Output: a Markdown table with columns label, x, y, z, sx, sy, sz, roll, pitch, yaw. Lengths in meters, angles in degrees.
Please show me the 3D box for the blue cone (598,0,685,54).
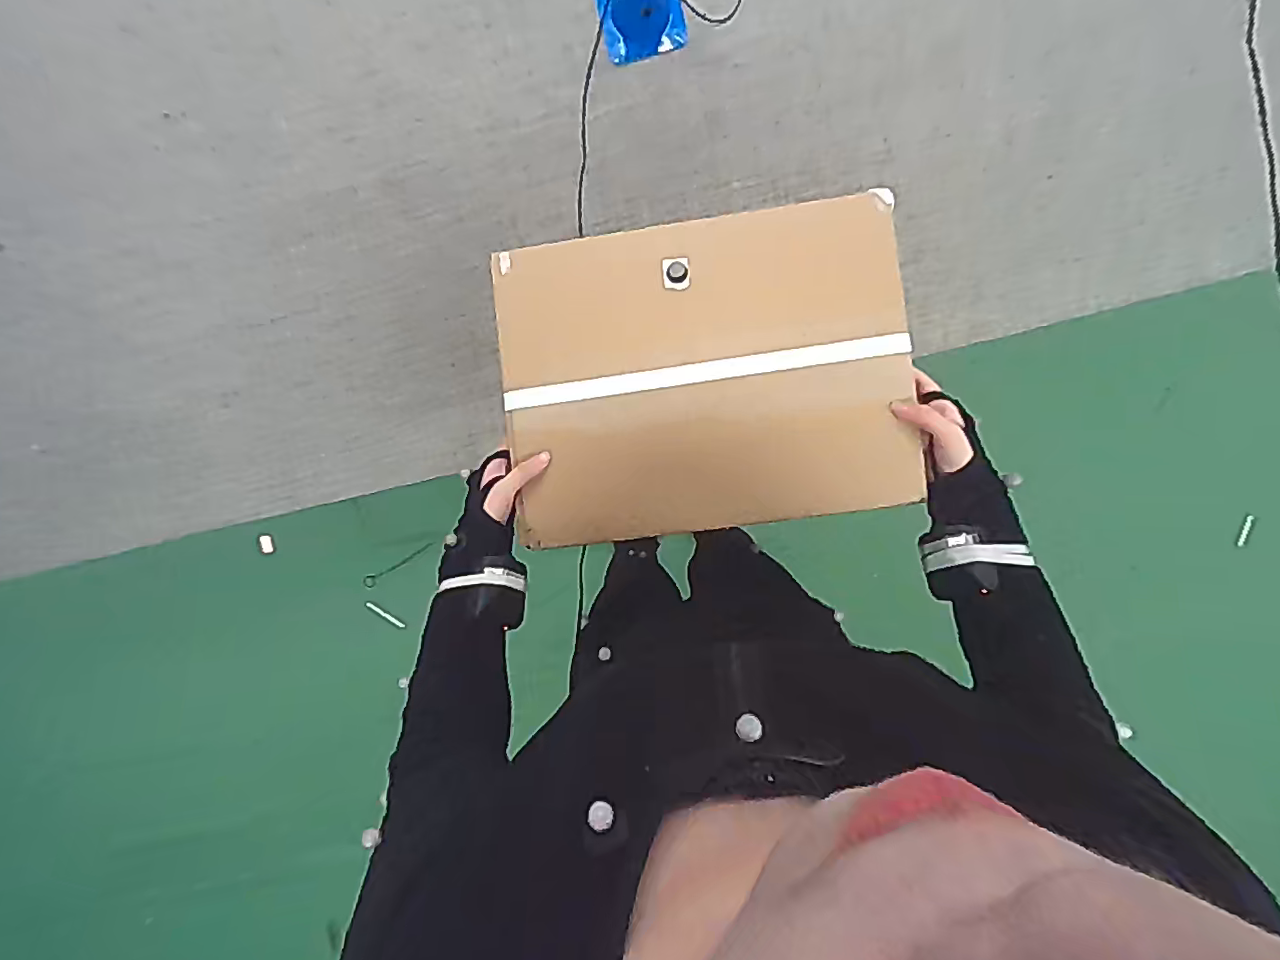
| label | x | y | z | sx | sy | sz | roll | pitch | yaw |
| --- | --- | --- | --- | --- | --- | --- | --- | --- | --- |
| blue cone | -0.001 | -1.112 | 1.128 | 0.193 | 0.380 | 0.192 | -16 | 97 | 3 |
